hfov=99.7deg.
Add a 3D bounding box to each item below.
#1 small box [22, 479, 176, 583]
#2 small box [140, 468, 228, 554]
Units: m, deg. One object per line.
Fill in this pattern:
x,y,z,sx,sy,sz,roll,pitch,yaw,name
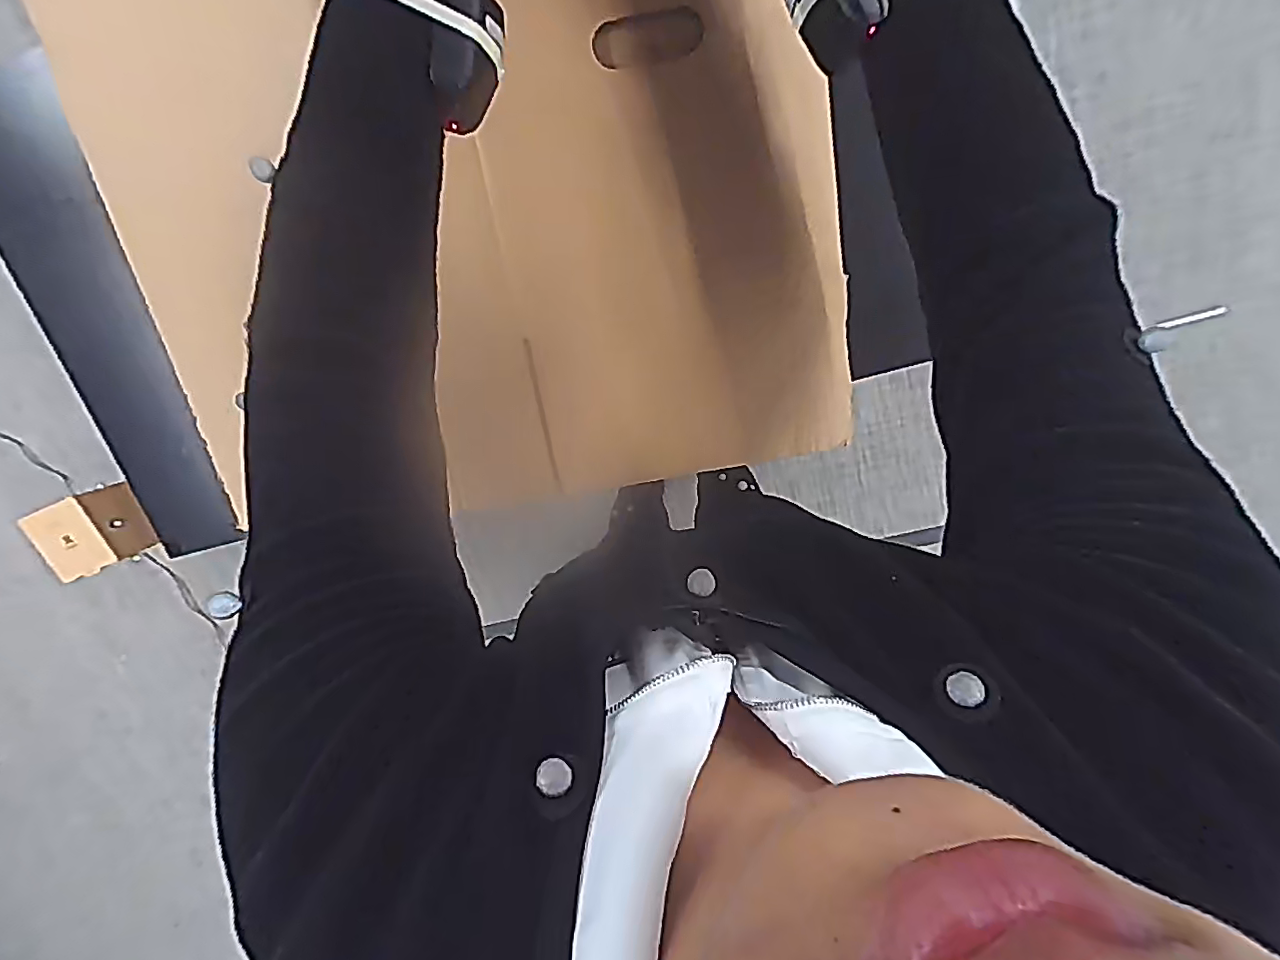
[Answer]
-1.310,0.119,1.326,0.168,0.176,0.179,-21,104,8,small box
-1.300,0.079,1.483,0.168,0.176,0.179,-18,105,8,small box
